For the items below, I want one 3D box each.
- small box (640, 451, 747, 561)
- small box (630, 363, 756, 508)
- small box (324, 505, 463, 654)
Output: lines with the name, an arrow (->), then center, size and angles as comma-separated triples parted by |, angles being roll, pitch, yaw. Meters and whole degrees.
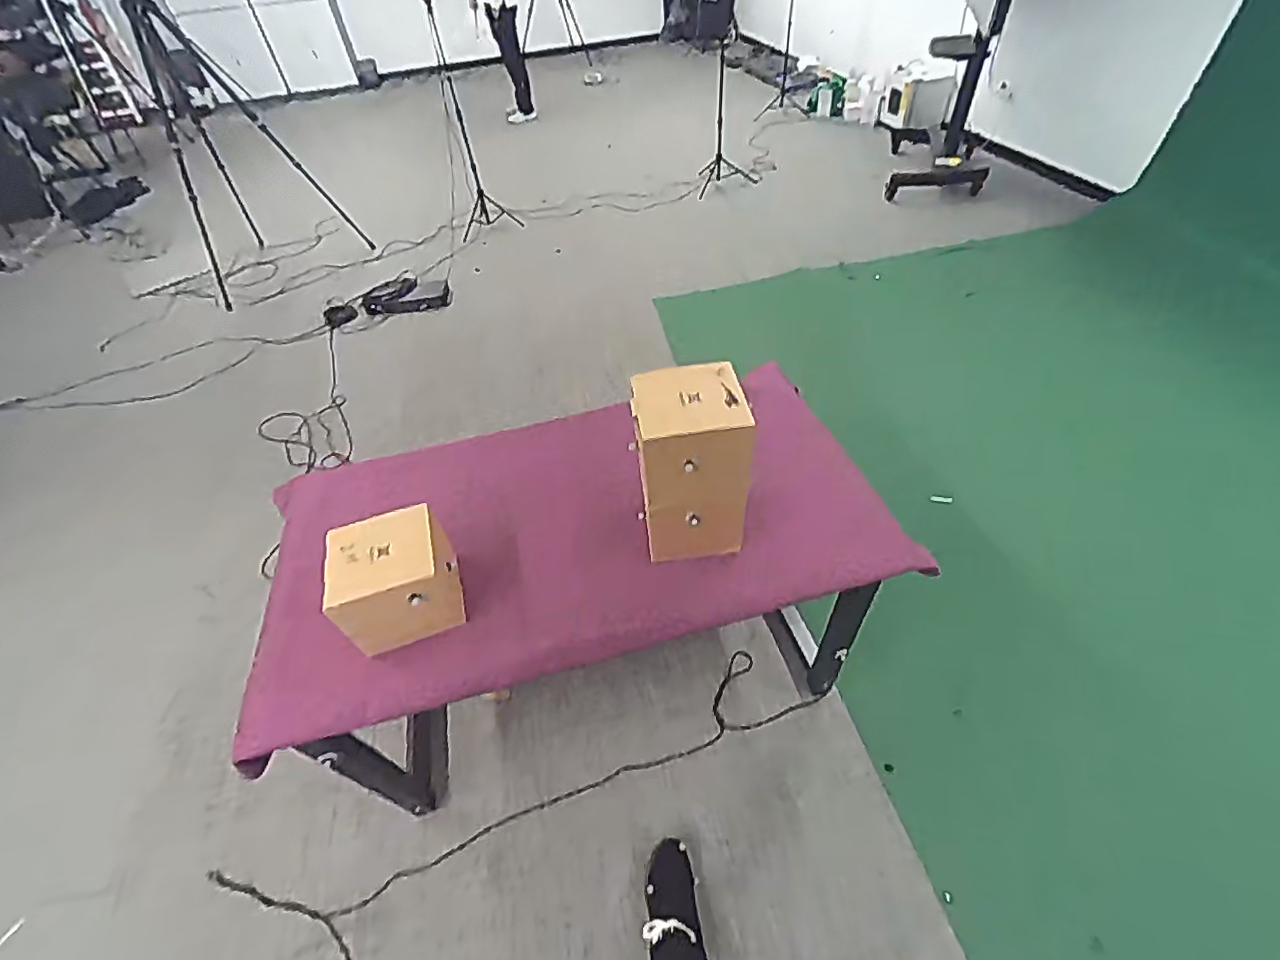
small box -> 0.099, 0.039, 1.029 | 0.179, 0.176, 0.168 | -6, 48, 0
small box -> 0.087, -0.070, 0.908 | 0.179, 0.176, 0.168 | -9, 48, -1
small box -> -0.424, 0.177, 0.953 | 0.179, 0.176, 0.168 | -17, 48, -10
